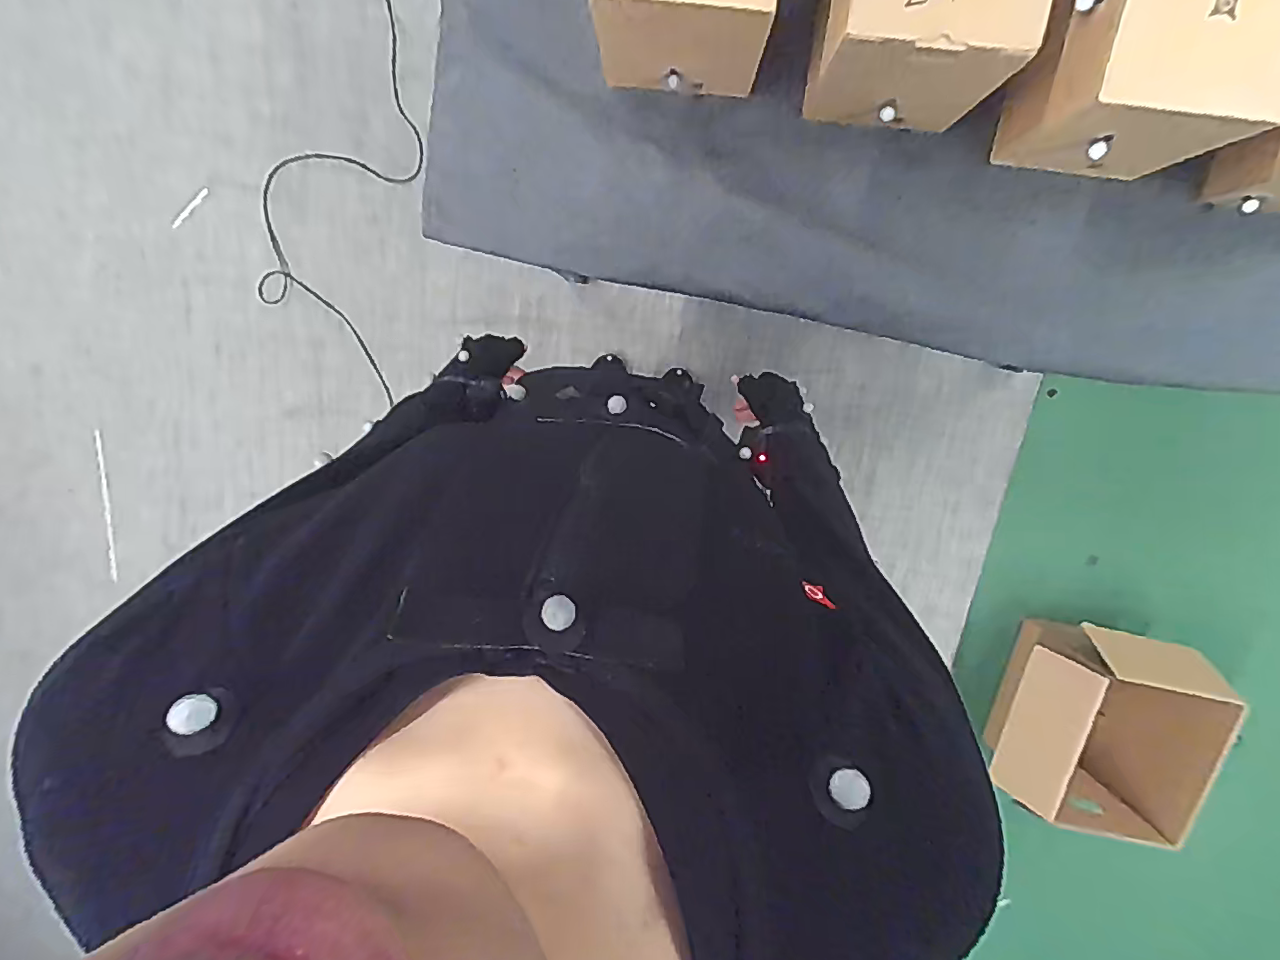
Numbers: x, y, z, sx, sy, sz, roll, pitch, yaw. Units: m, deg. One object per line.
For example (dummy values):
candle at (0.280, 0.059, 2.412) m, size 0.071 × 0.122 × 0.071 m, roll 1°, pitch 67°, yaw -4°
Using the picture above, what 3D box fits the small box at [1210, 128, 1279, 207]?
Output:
small box at (0.723, -0.369, 0.517) m, size 0.168 × 0.176 × 0.179 m, roll 7°, pitch 102°, yaw 1°

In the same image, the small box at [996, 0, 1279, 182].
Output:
small box at (0.486, -0.412, 0.523) m, size 0.168 × 0.176 × 0.179 m, roll 8°, pitch 103°, yaw 2°

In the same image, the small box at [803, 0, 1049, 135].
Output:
small box at (0.268, -0.469, 0.520) m, size 0.168 × 0.176 × 0.179 m, roll 8°, pitch 103°, yaw 2°
